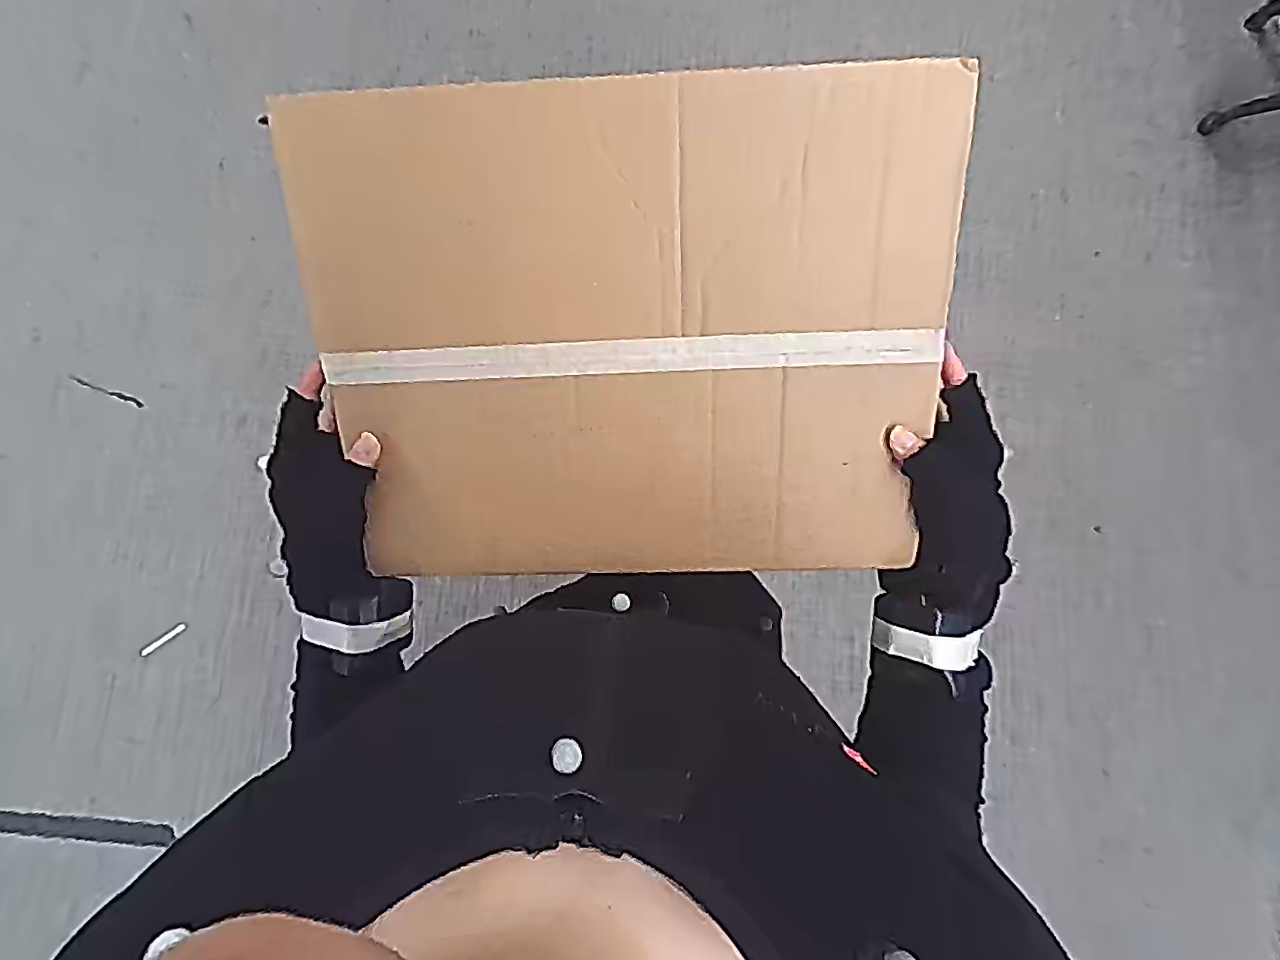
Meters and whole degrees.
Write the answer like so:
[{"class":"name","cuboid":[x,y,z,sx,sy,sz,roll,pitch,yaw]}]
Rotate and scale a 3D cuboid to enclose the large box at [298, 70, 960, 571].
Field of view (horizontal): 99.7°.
[{"class":"large box","cuboid":[-0.002,-0.127,0.505,0.408,0.320,0.320,-1,109,2]}]
